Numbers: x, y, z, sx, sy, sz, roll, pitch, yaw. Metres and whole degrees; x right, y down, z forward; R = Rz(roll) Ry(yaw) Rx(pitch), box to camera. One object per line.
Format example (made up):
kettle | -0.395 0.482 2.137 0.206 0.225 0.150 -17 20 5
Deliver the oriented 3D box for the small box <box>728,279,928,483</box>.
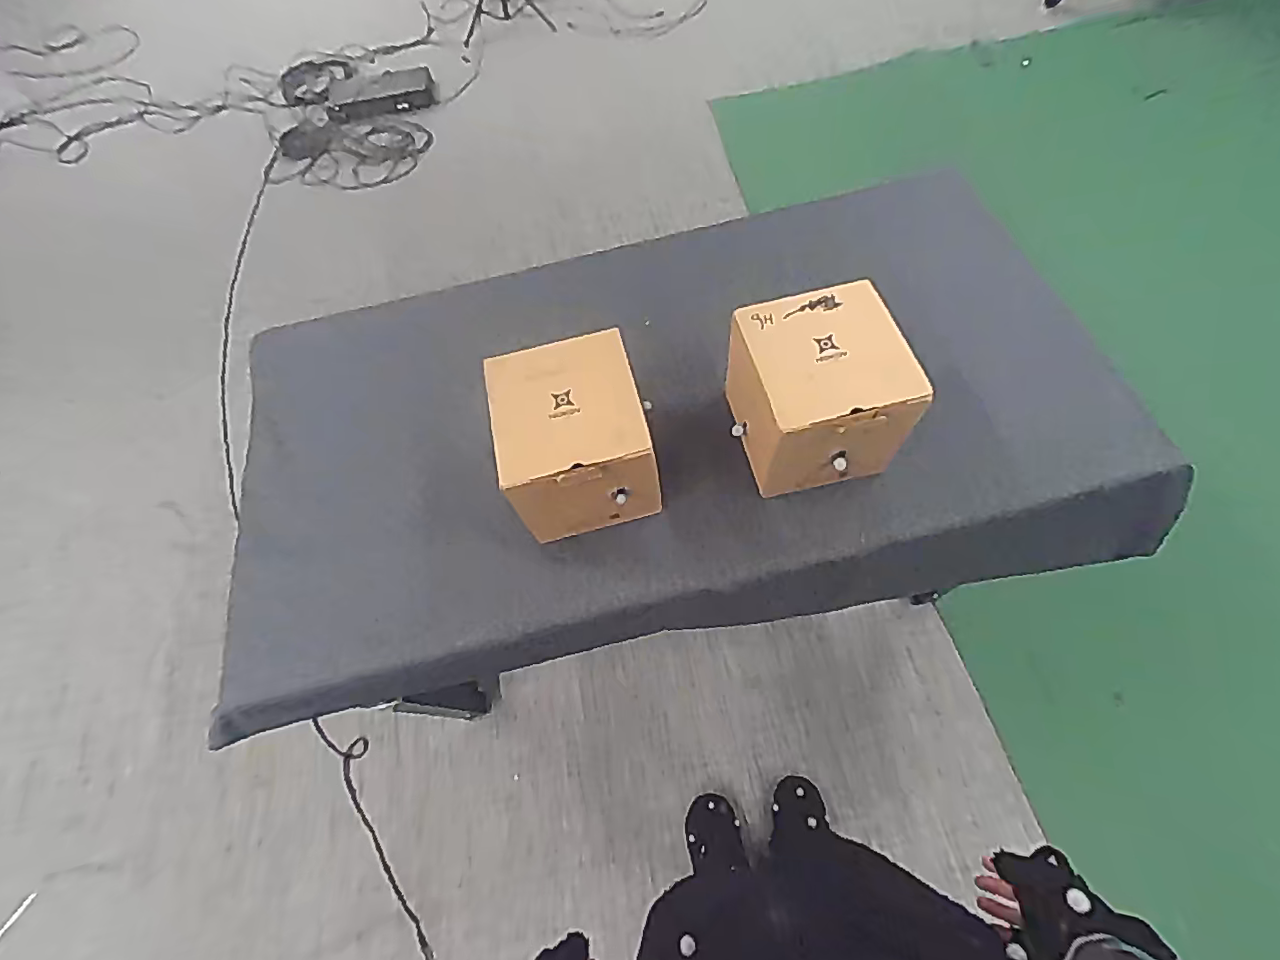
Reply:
small box | 0.214 -0.110 0.672 0.168 0.176 0.179 -13 64 -2

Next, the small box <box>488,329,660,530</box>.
small box | -0.075 -0.051 0.674 0.168 0.176 0.179 -15 62 -3
